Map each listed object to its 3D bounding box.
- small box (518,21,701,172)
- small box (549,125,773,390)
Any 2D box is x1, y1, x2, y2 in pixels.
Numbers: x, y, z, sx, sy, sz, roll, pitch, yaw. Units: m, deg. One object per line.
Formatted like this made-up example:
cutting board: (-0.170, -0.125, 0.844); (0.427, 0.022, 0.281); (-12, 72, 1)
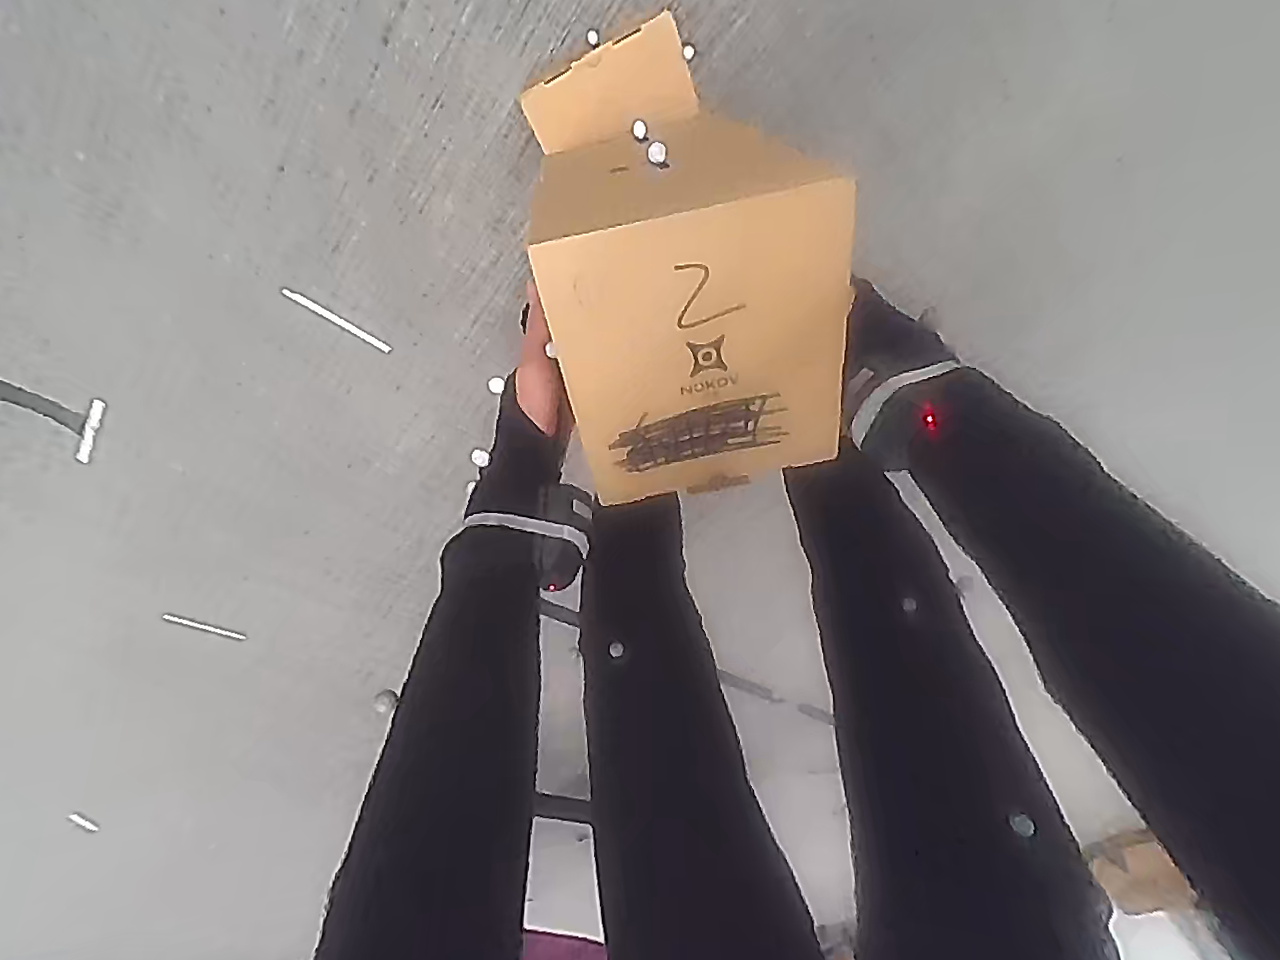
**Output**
small box: (-0.023, -0.392, 0.629); (0.168, 0.176, 0.179); (-24, 128, 9)
small box: (0.015, -0.214, 0.505); (0.168, 0.176, 0.179); (-14, 128, 1)
